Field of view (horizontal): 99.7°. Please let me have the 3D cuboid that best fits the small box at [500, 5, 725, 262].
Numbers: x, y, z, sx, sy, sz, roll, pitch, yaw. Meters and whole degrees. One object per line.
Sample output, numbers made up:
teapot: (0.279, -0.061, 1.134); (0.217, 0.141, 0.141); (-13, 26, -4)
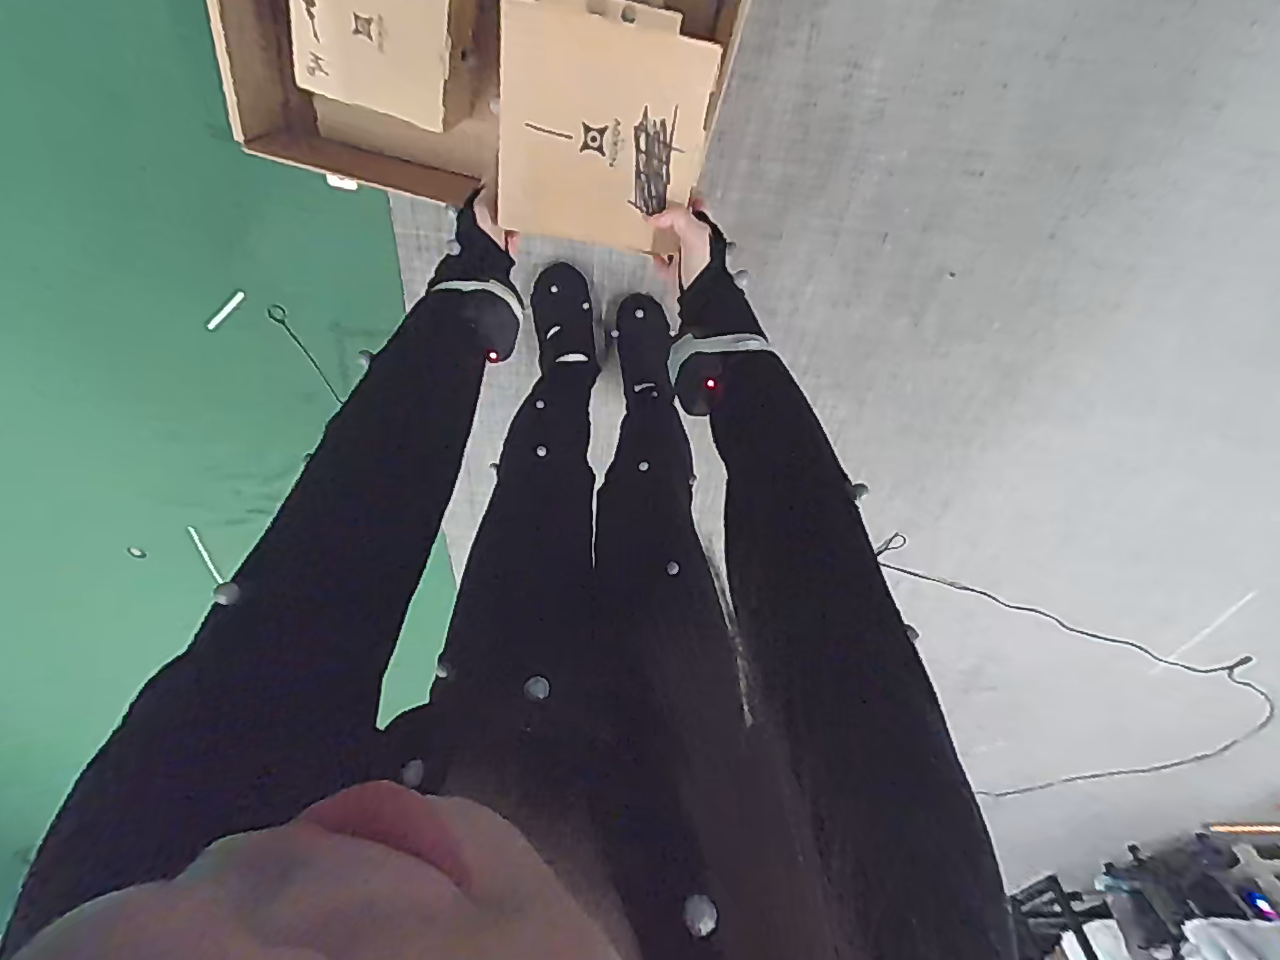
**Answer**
small box: (-0.038, -0.334, 0.531); (0.179, 0.176, 0.168); (5, 126, -11)
